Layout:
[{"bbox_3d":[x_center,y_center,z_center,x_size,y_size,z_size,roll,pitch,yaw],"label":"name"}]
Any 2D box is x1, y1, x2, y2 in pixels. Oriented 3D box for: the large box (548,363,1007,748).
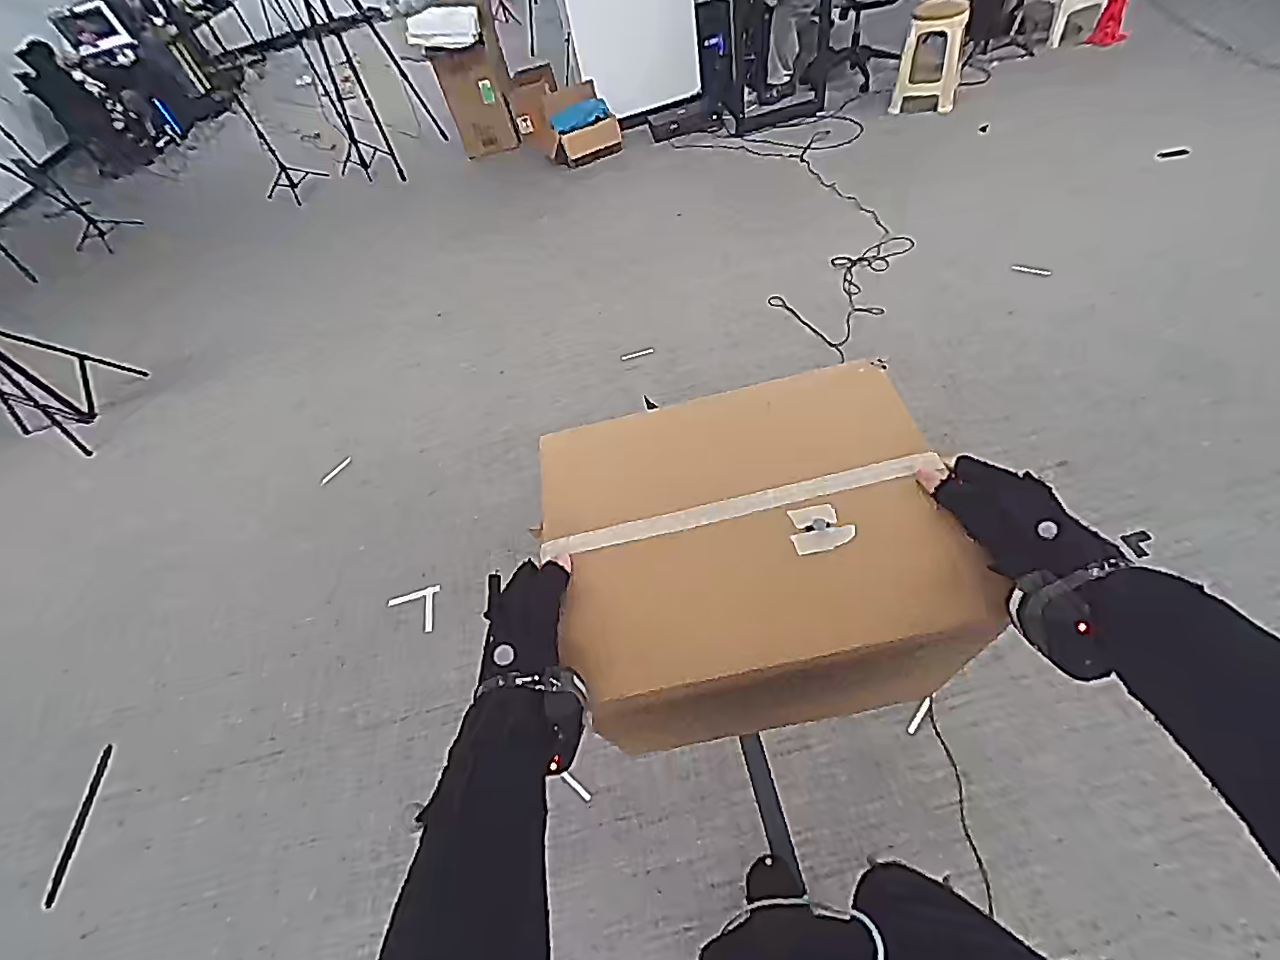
[{"bbox_3d":[0.128,0.111,0.682,0.408,0.320,0.320,-13,55,3],"label":"large box"}]
